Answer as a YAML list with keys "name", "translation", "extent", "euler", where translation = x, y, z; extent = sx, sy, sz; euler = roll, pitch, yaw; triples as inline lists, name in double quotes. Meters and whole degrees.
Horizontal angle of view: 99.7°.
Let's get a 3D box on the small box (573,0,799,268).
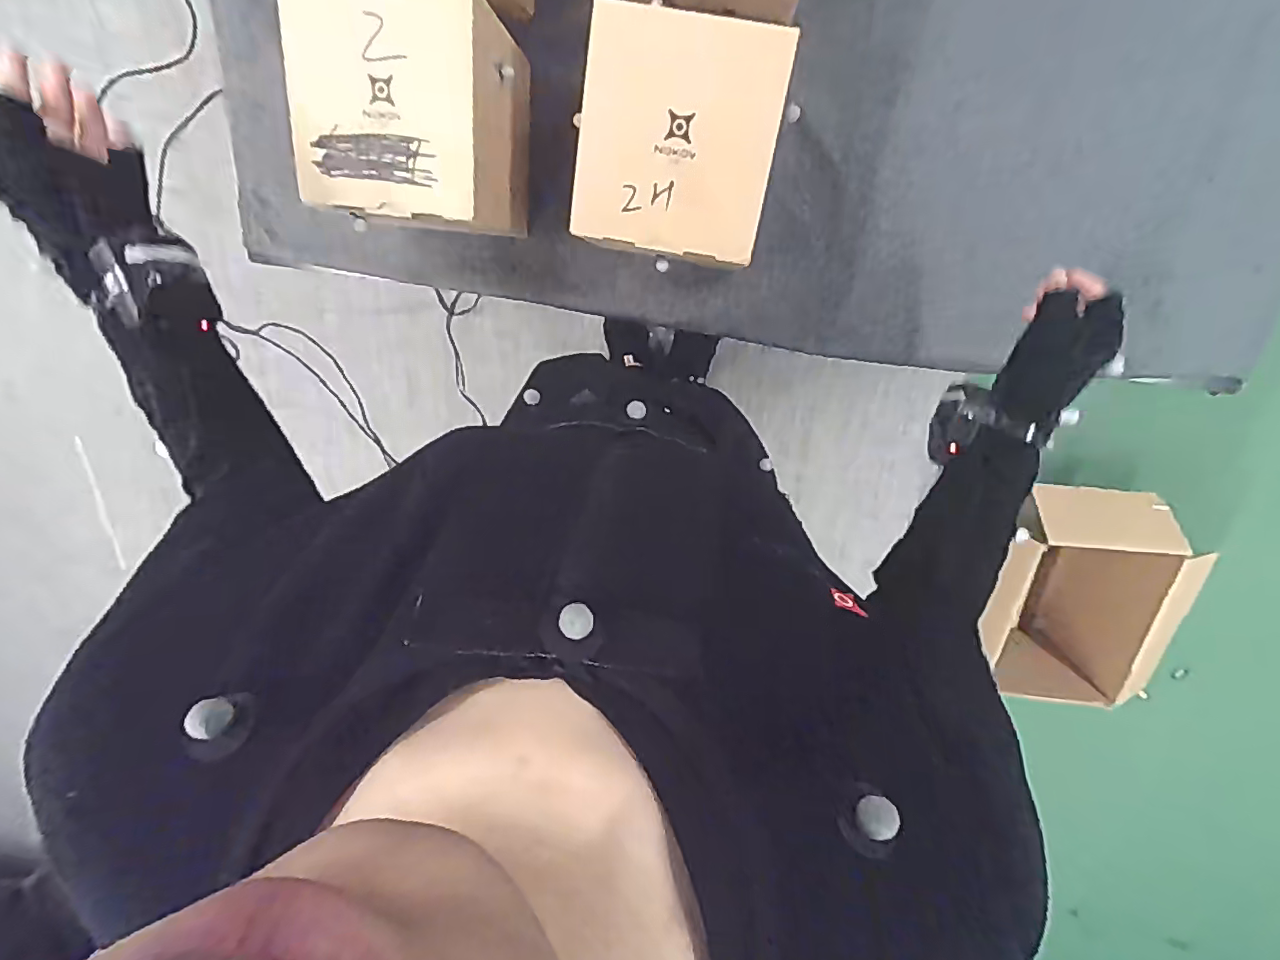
- name: "small box"
  translation: [0.039, -0.314, 0.529]
  extent: [0.168, 0.176, 0.179]
  euler: [10, 111, 2]
